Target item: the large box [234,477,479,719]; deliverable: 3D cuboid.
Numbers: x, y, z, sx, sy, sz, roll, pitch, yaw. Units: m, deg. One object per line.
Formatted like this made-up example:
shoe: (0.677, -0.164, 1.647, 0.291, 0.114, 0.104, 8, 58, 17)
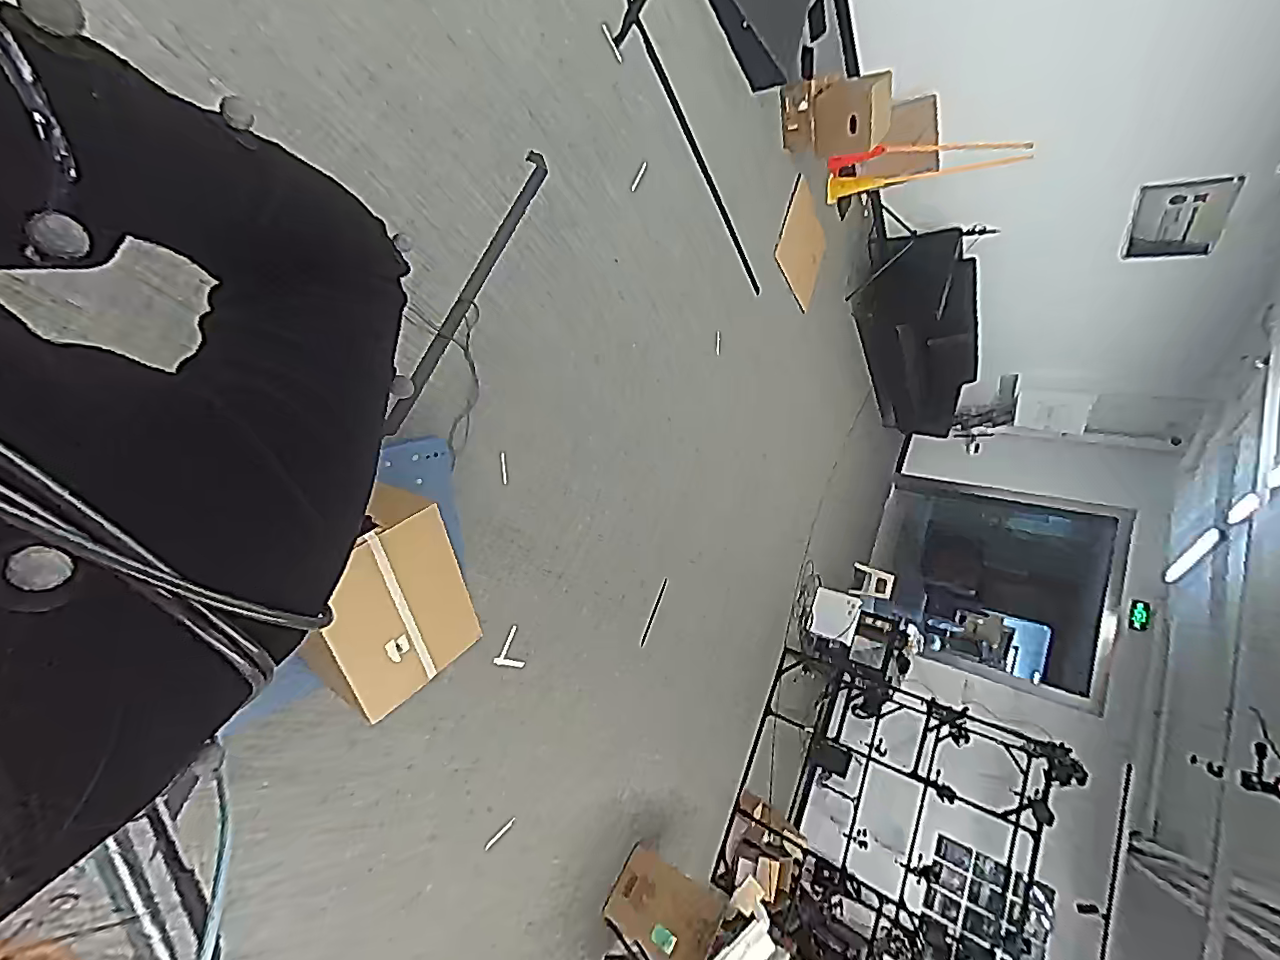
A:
large box: (-0.645, 0.256, 1.269, 0.320, 0.320, 0.408, -37, 129, -42)
